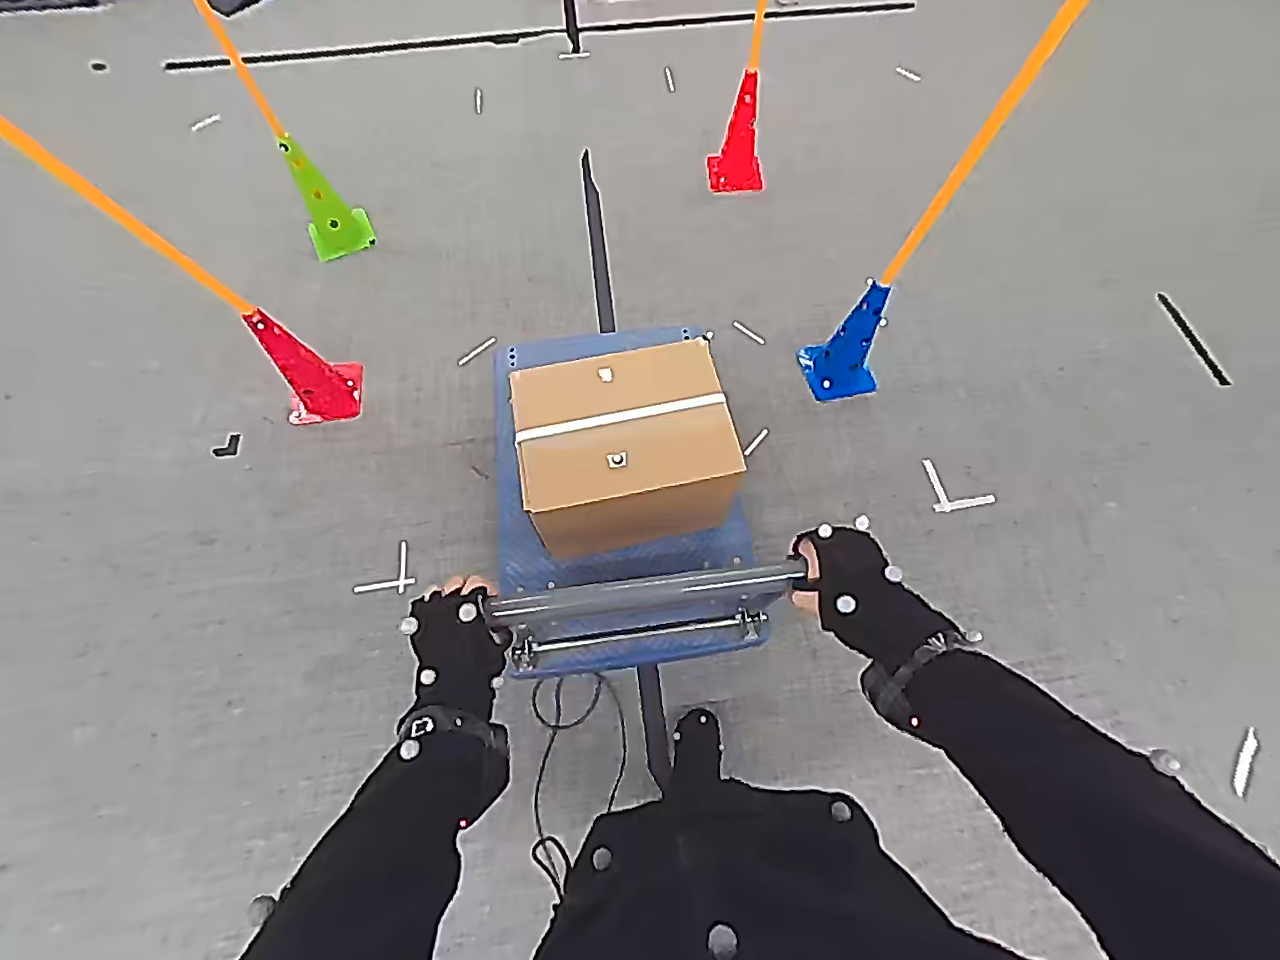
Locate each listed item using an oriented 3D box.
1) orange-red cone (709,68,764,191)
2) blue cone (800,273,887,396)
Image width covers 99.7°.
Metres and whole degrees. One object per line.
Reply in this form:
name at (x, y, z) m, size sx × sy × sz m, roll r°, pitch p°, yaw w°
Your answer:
orange-red cone at (0.362, -1.221, 1.868) m, size 0.199 × 0.360 × 0.198 m, roll -1°, pitch 66°, yaw -1°
blue cone at (0.606, -0.416, 1.518) m, size 0.193 × 0.380 × 0.192 m, roll -10°, pitch 65°, yaw -5°
